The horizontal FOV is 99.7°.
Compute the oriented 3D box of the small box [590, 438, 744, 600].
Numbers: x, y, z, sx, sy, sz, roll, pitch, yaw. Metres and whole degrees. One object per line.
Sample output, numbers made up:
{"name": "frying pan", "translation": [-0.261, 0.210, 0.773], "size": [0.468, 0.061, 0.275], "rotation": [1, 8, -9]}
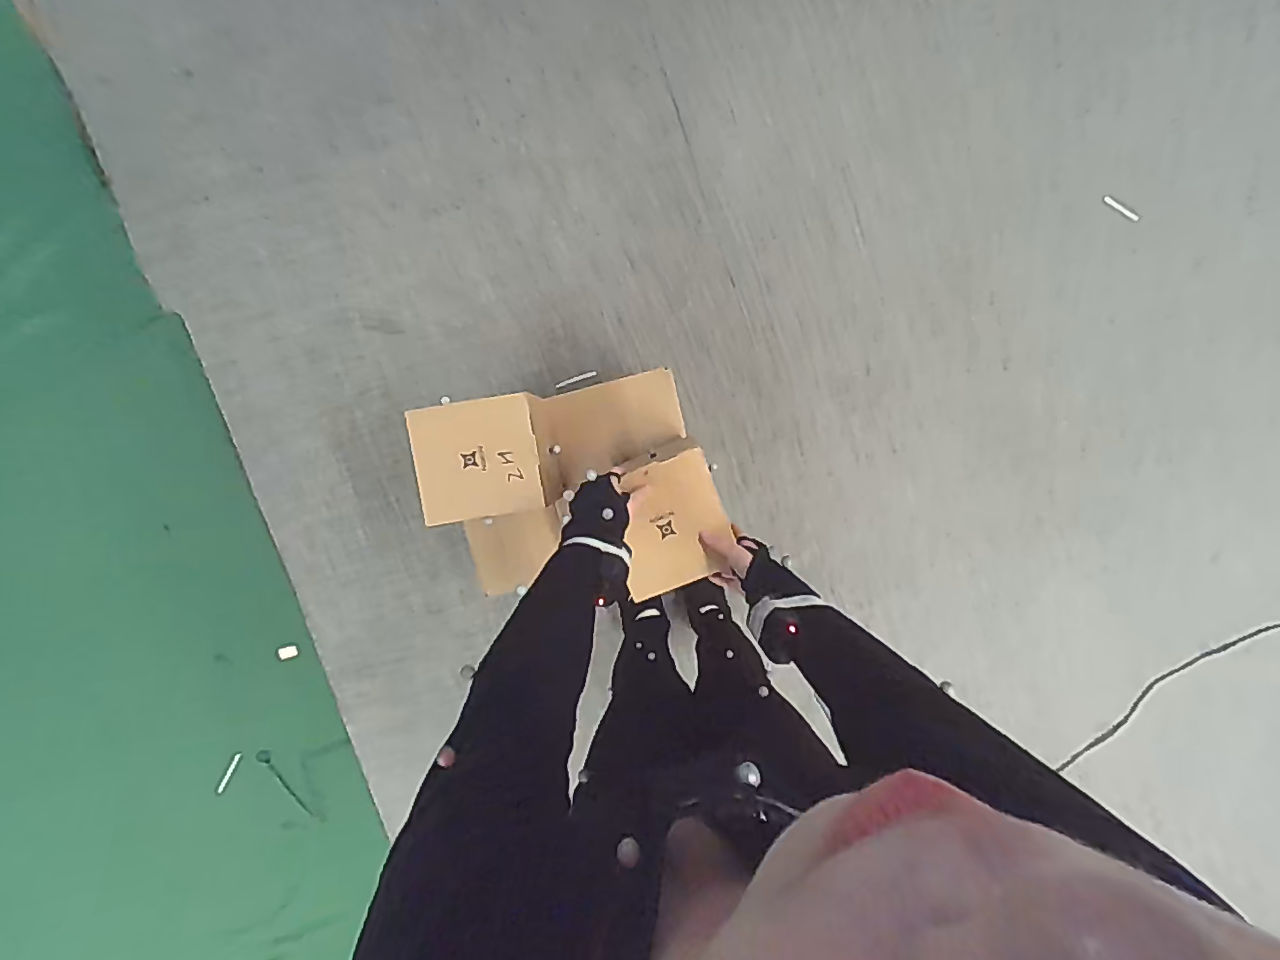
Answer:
{"name": "small box", "translation": [0.044, 0.049, 0.814], "size": [0.168, 0.176, 0.179], "rotation": [-23, 96, 7]}

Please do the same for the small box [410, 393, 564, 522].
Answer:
{"name": "small box", "translation": [-0.225, -0.034, 0.837], "size": [0.179, 0.176, 0.168], "rotation": [-9, 93, 0]}
